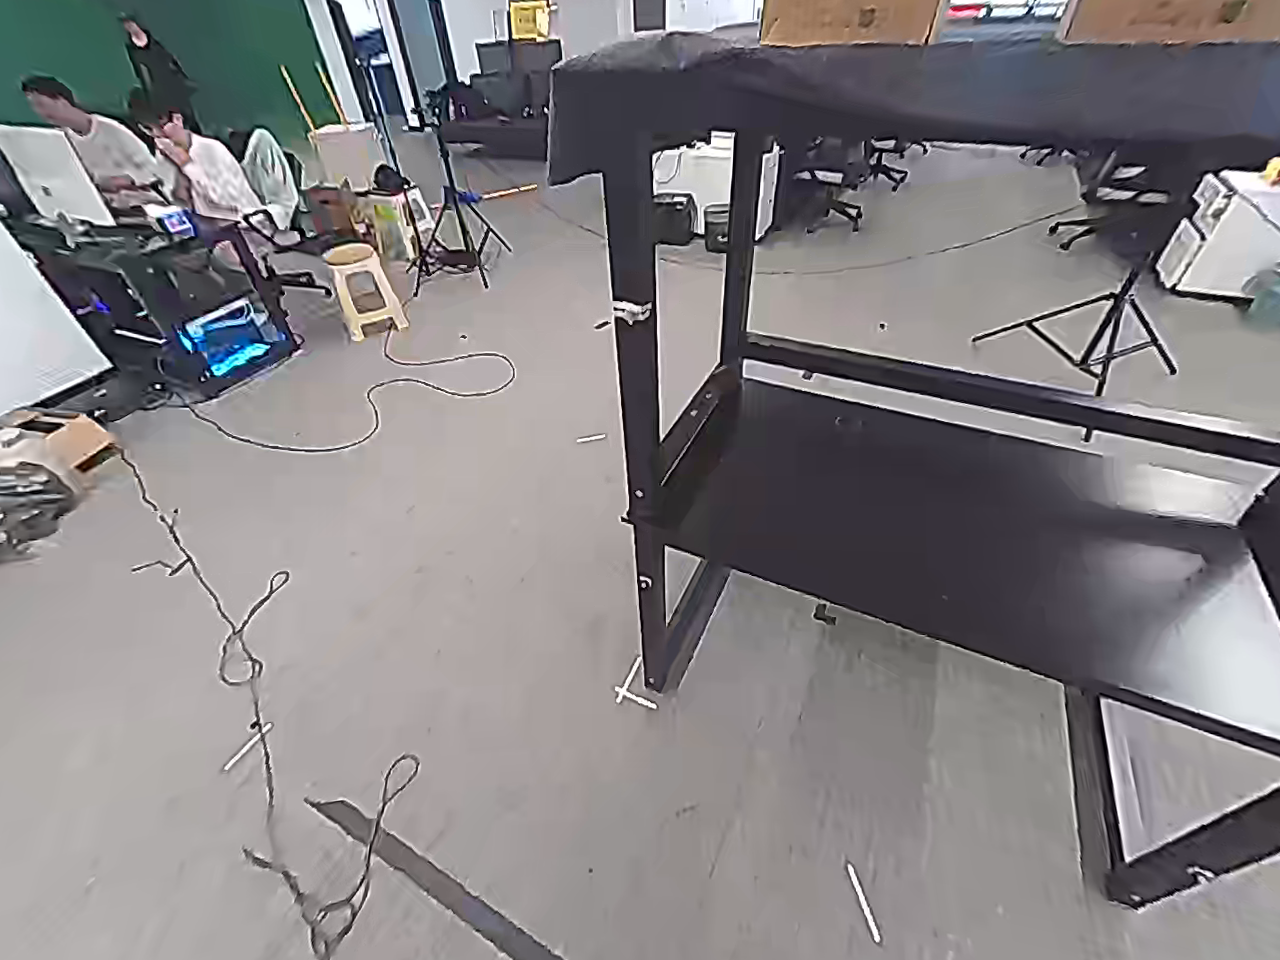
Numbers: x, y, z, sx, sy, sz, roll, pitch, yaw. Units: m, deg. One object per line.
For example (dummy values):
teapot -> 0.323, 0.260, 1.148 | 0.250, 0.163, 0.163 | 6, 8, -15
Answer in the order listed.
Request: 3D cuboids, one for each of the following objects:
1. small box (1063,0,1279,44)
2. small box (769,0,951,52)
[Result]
small box -> 0.481, -0.471, 0.444 | 0.168, 0.176, 0.179 | 18, 44, 22
small box -> 0.237, -0.544, 0.542 | 0.168, 0.176, 0.179 | 17, 44, 19
